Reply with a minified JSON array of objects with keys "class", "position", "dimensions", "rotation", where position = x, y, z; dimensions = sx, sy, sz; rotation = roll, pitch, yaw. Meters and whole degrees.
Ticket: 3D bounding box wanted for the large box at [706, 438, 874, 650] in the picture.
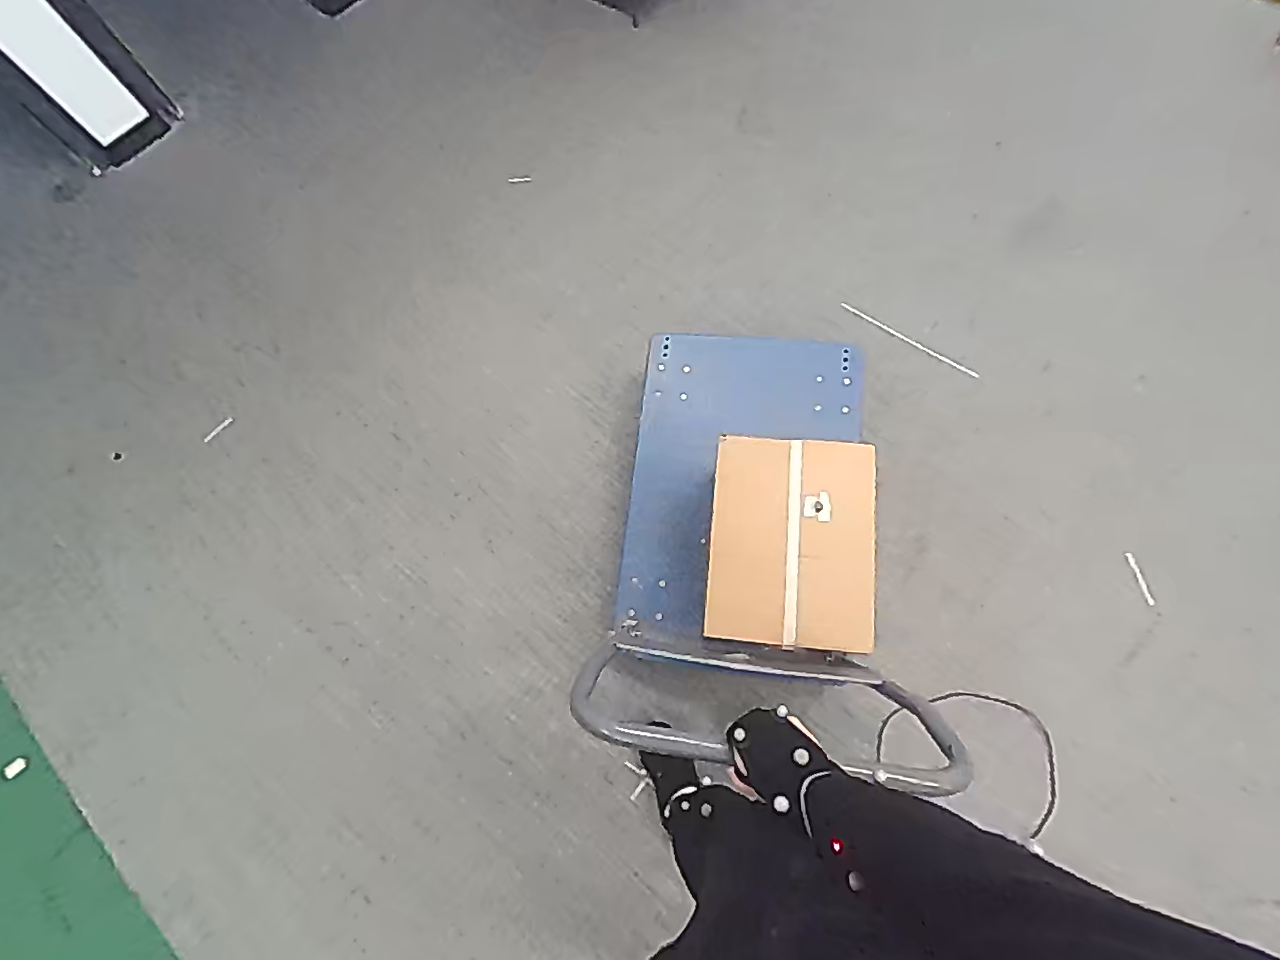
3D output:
[{"class":"large box","position":[0.314,0.152,1.205],"dimensions":[0.320,0.320,0.408],"rotation":[5,77,6]}]
